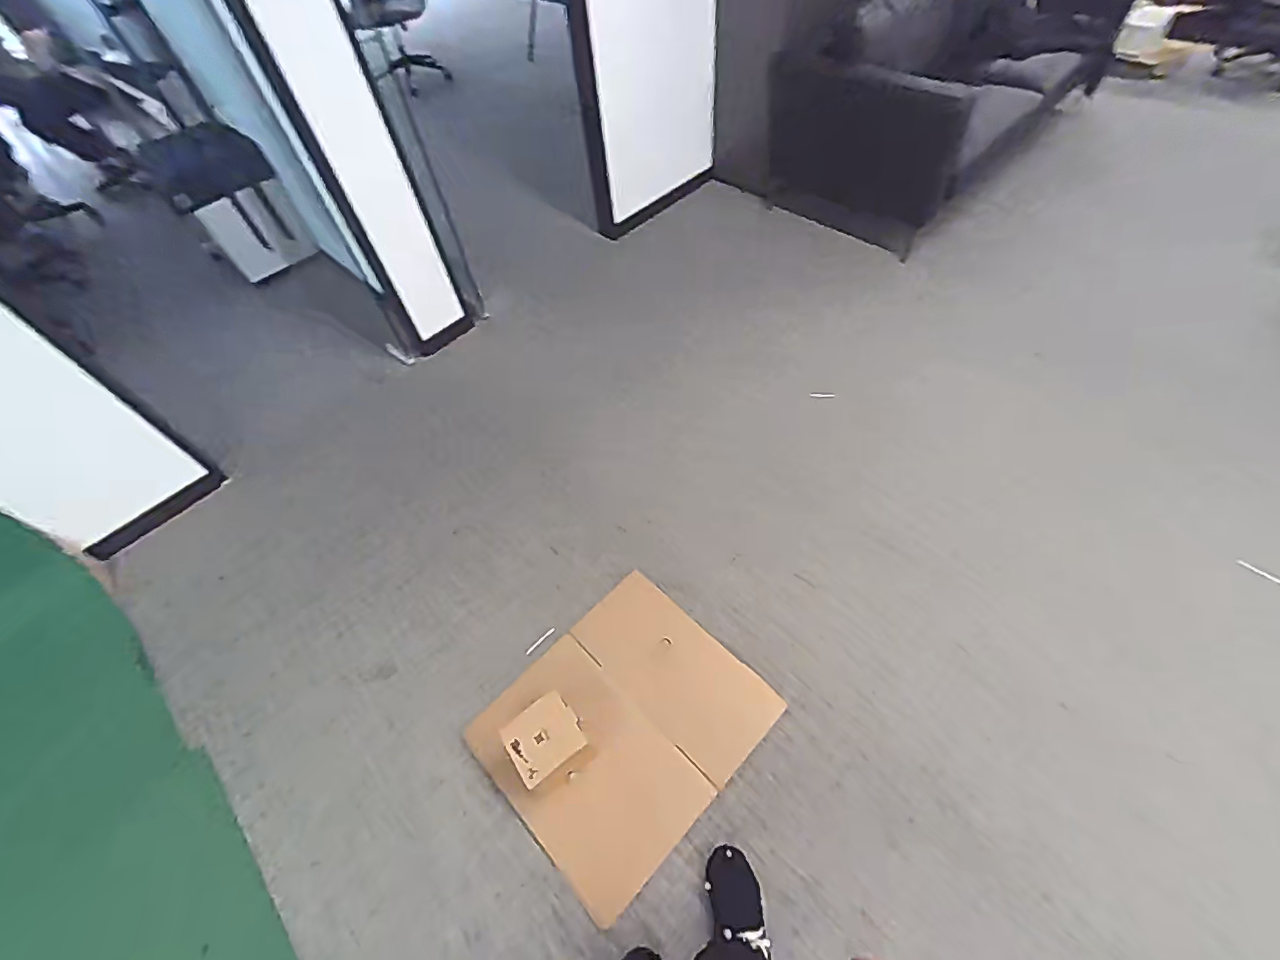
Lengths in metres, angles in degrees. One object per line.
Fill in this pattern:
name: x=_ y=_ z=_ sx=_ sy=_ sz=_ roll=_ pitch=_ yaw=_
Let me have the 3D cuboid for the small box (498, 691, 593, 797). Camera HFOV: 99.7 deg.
small box: x=-0.235 y=0.685 z=1.398 sx=0.179 sy=0.176 sz=0.168 roll=-33 pitch=58 yaw=-17
